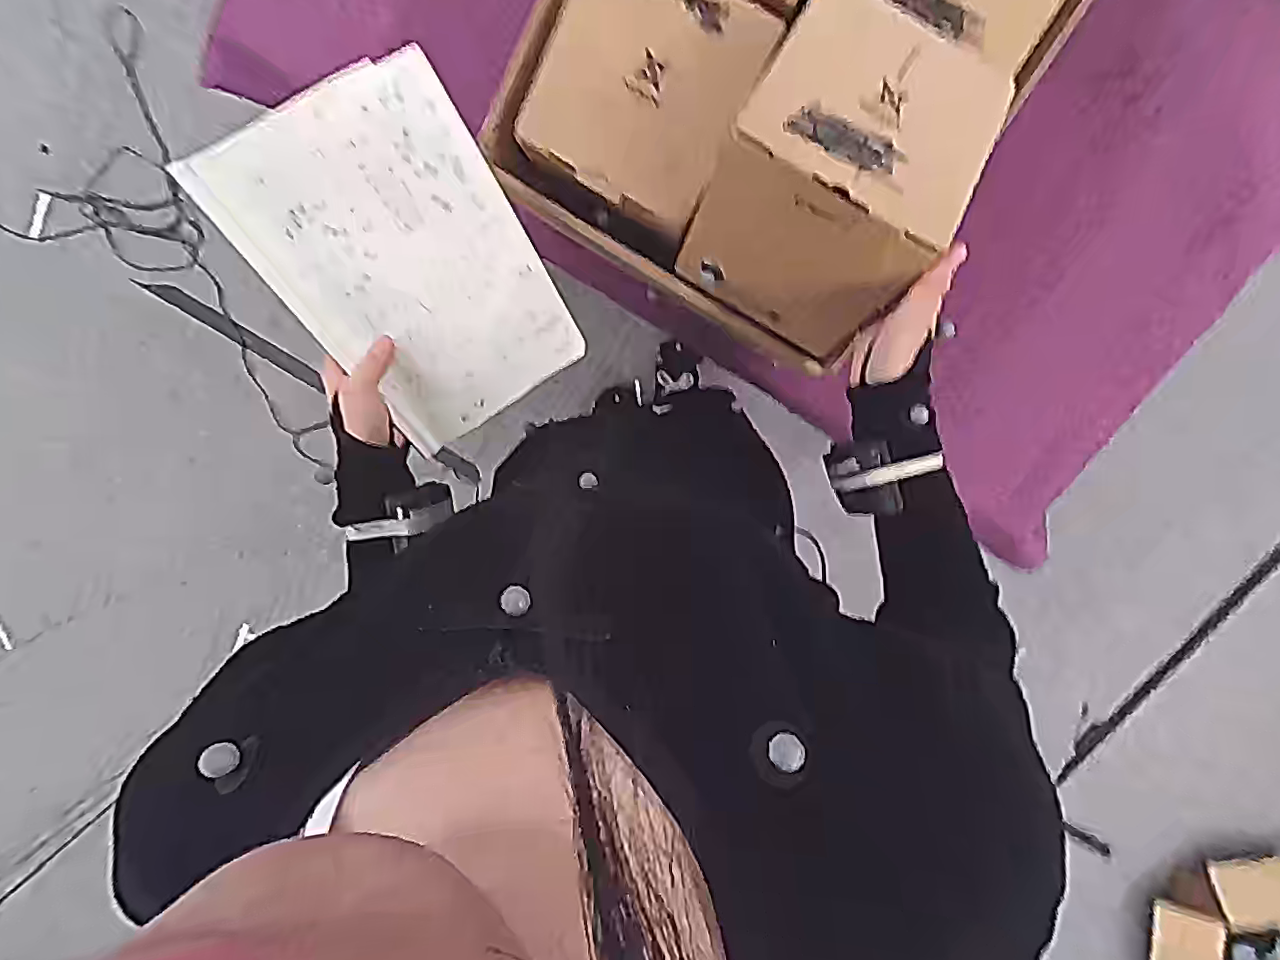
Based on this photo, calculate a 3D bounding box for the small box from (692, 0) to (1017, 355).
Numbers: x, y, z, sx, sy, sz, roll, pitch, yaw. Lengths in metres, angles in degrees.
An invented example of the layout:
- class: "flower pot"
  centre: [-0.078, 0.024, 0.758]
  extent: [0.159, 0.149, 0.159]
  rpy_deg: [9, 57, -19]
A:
- class: "small box"
  centre: [0.159, -0.237, 0.458]
  extent: [0.168, 0.176, 0.179]
  rpy_deg: [30, 76, -2]
